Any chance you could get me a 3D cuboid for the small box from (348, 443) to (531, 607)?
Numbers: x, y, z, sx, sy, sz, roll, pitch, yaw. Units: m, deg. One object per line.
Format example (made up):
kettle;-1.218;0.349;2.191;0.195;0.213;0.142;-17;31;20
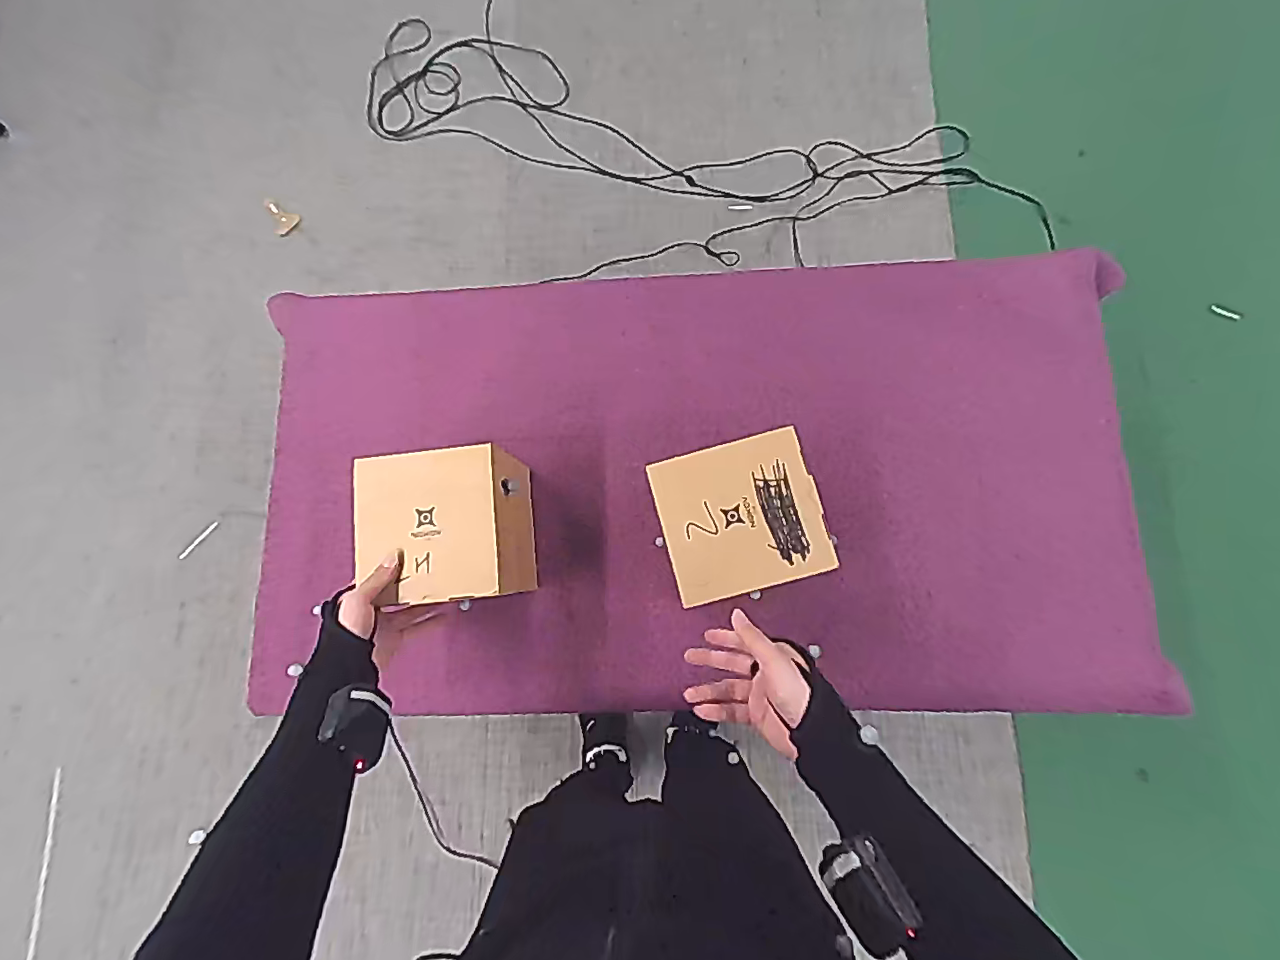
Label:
small box;-0.241;0.063;0.682;0.168;0.176;0.179;-5;80;3
